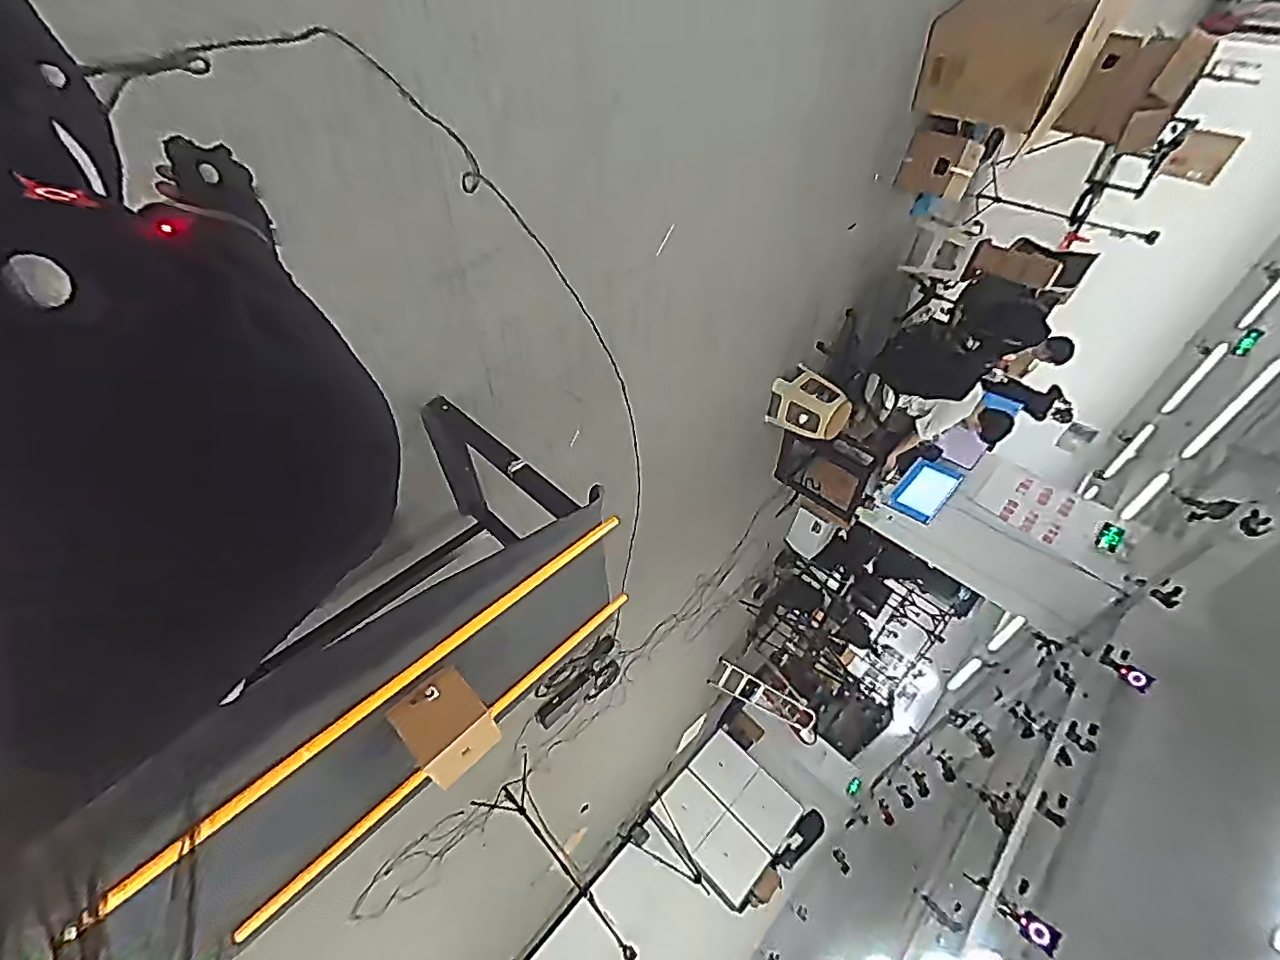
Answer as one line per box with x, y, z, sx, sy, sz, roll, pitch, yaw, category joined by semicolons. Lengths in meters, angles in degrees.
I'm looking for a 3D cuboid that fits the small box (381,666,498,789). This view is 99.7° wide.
-0.455;0.562;1.241;0.168;0.176;0.179;-39;147;-29;small box
